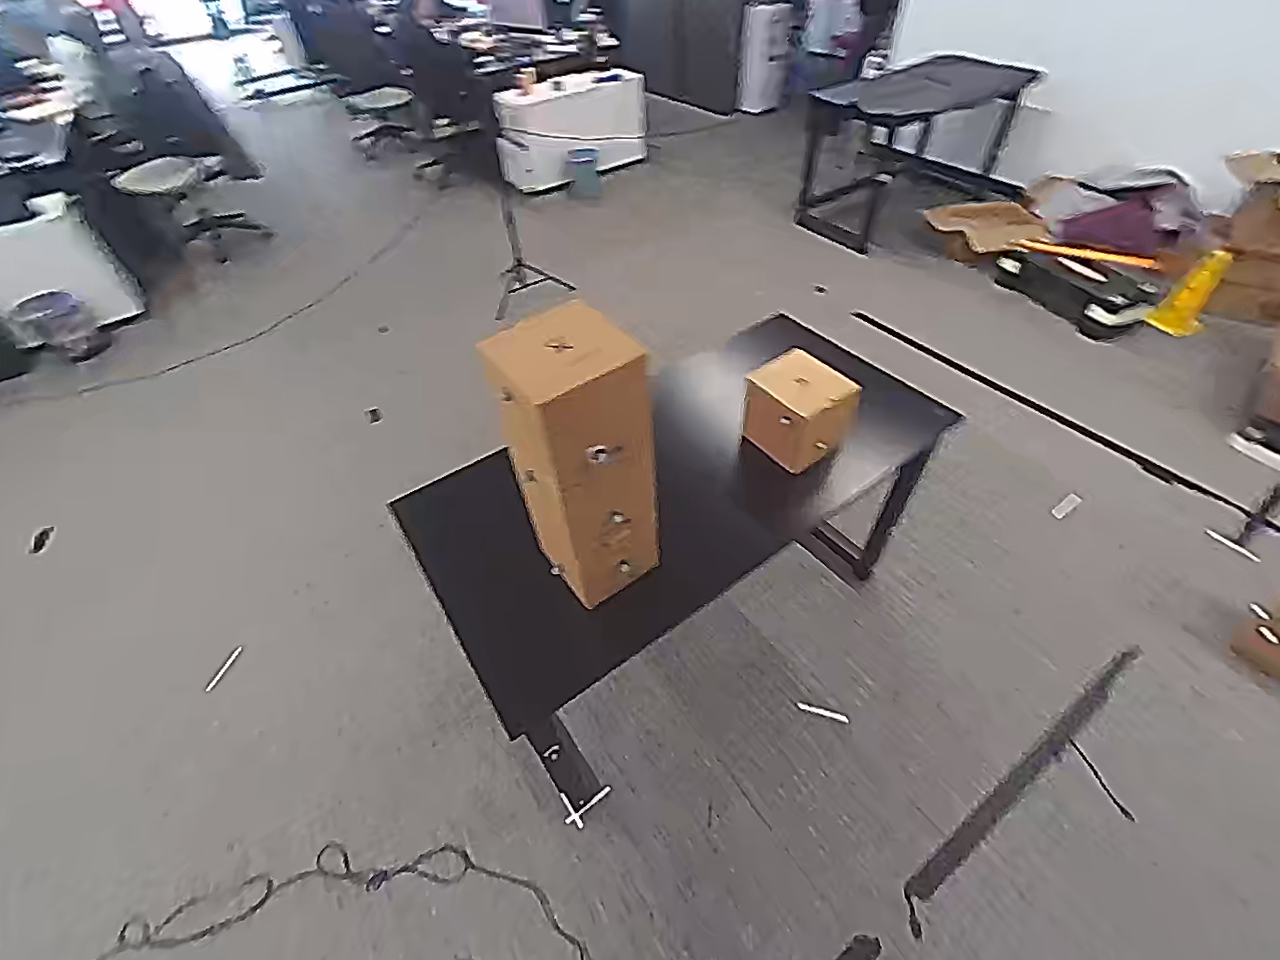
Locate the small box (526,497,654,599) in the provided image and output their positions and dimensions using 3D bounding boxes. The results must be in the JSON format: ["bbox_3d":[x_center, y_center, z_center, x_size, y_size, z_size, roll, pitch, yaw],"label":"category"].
[{"bbox_3d":[-0.085,0.097,1.007,0.168,0.176,0.179,-31,54,-22],"label":"small box"}]

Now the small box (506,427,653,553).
[{"bbox_3d":[-0.093,-0.014,0.885,0.168,0.176,0.179,-31,54,-21],"label":"small box"}]

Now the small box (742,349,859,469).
[{"bbox_3d":[0.346,-0.156,1.205,0.168,0.176,0.179,-30,53,-21],"label":"small box"}]

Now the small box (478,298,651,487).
[{"bbox_3d":[-0.100,-0.123,0.764,0.168,0.176,0.179,-32,54,-21],"label":"small box"}]
